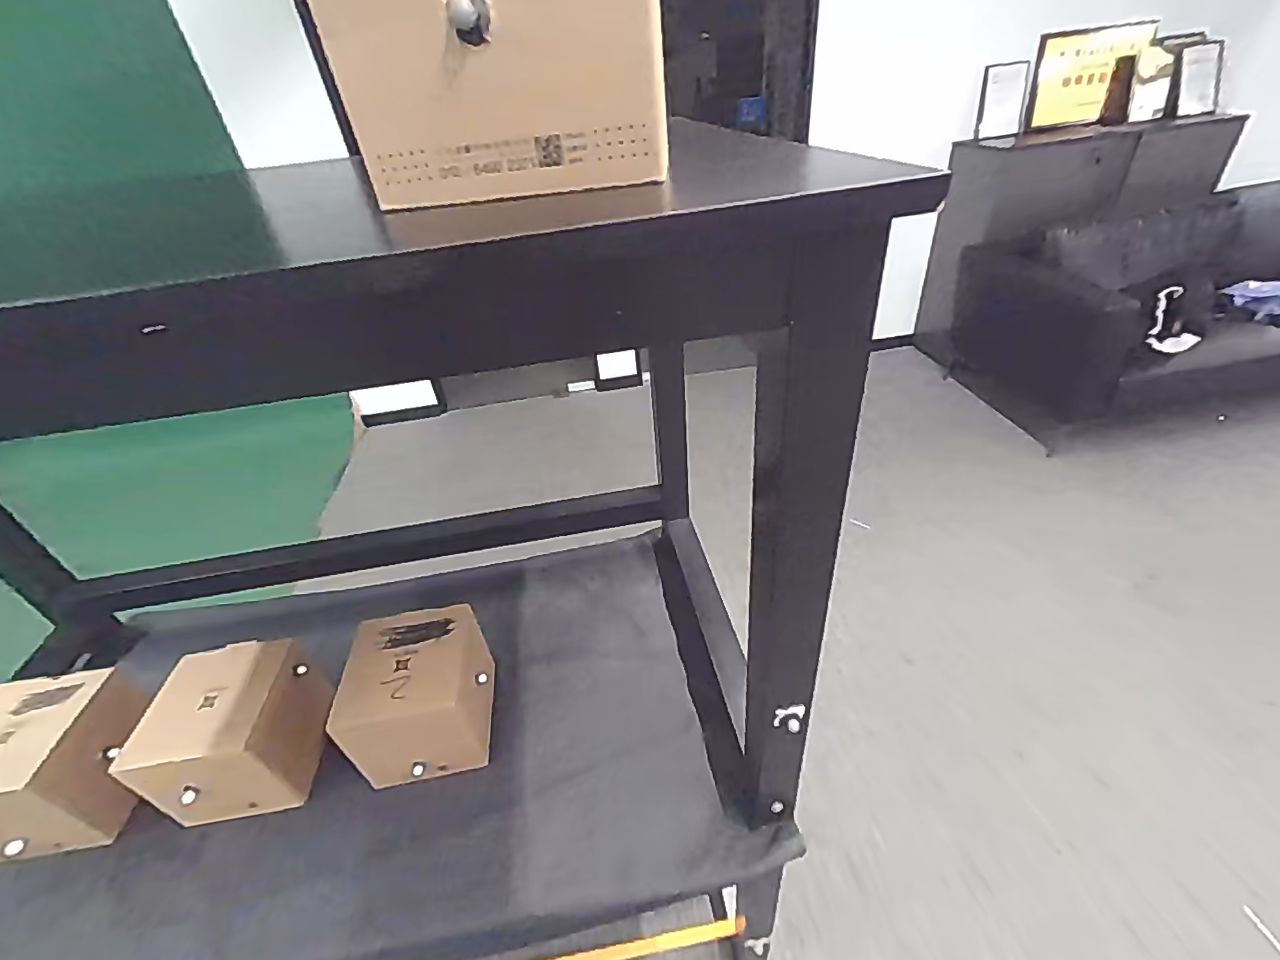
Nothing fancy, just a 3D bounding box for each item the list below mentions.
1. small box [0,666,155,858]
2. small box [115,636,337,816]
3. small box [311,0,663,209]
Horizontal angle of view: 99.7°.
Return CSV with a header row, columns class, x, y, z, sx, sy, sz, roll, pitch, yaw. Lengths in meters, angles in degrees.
class,x,y,z,sx,sy,sz,roll,pitch,yaw
small box,-0.825,0.399,0.771,0.168,0.176,0.179,-9,37,-3
small box,-0.576,0.361,0.788,0.168,0.176,0.179,-9,36,-3
small box,-0.073,-0.271,0.327,0.168,0.176,0.179,-3,37,5
